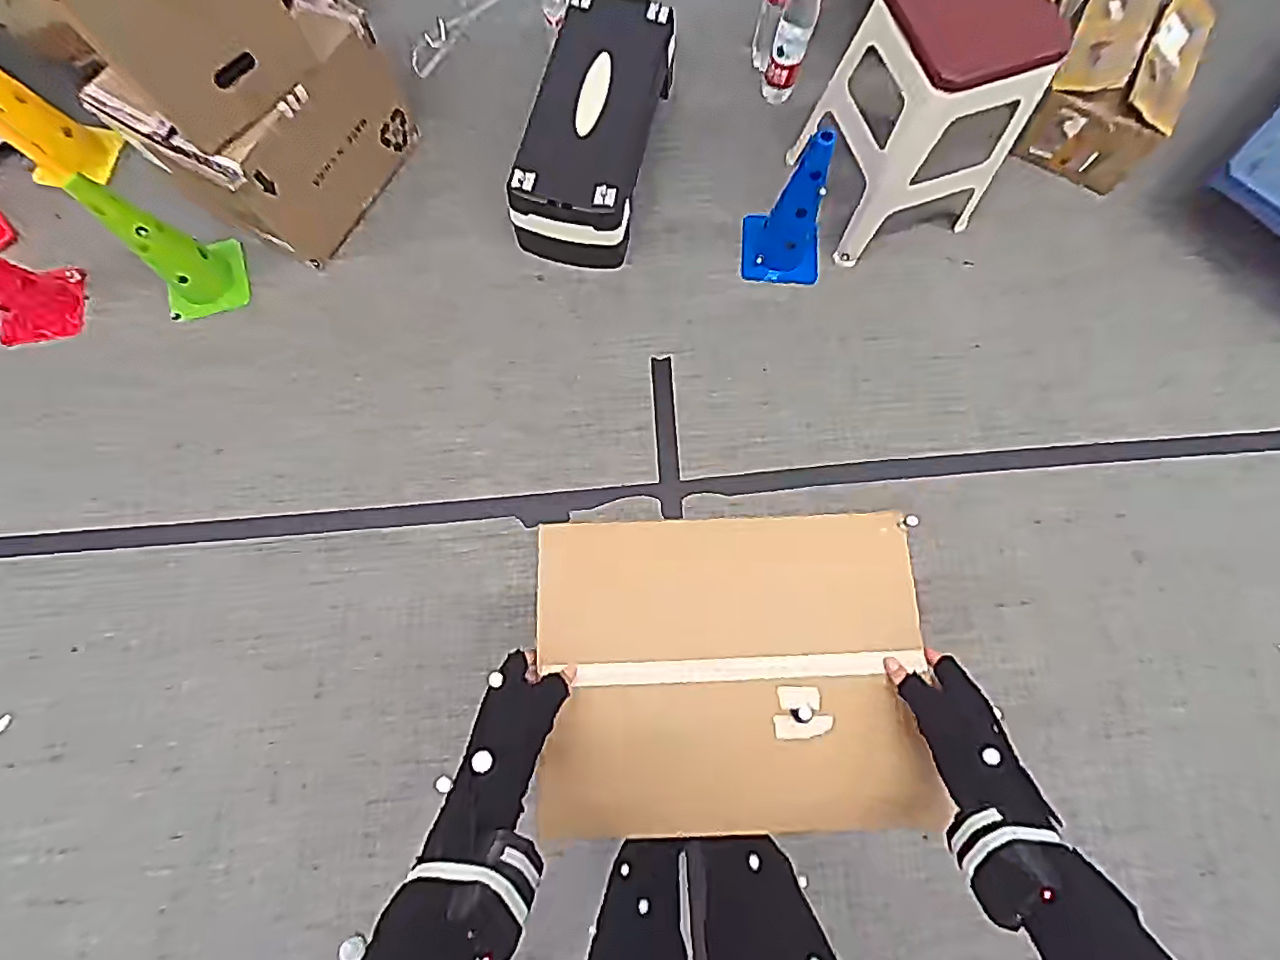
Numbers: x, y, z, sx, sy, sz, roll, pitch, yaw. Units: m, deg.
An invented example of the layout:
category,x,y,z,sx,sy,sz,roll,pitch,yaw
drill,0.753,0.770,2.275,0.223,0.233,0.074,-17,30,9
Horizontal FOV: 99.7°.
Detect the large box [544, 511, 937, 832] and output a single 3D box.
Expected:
category,x,y,z,sx,sy,sz,roll,pitch,yaw
large box,0.096,0.231,0.726,0.408,0.320,0.320,-3,77,-1
